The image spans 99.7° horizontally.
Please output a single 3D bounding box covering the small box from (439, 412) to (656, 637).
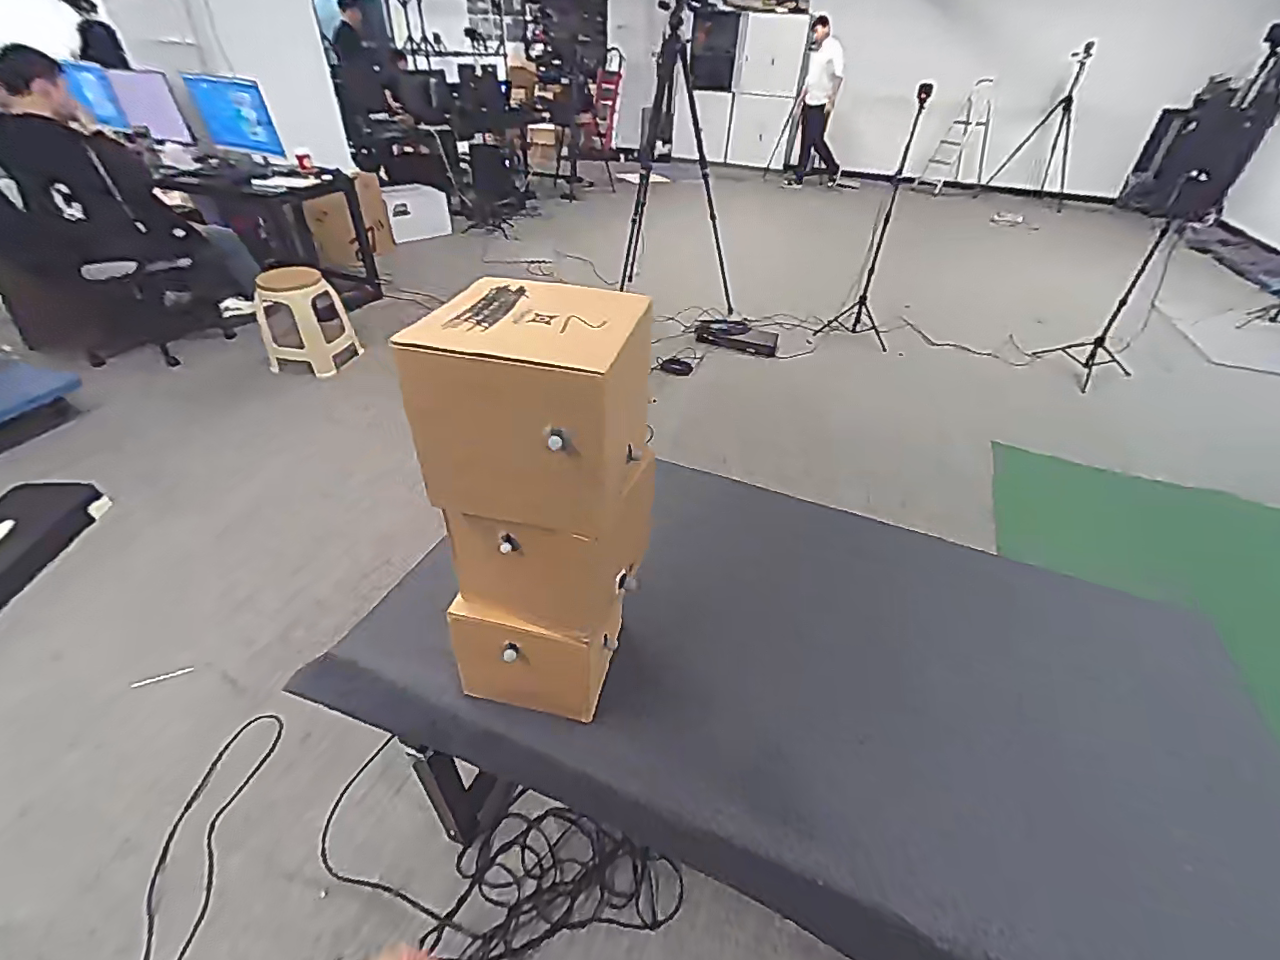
[{"bbox_3d":[-0.095,0.049,0.617,0.179,0.176,0.168,16,40,15],"label":"small box"}]

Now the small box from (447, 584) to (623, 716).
[{"bbox_3d":[-0.122,0.181,0.709,0.179,0.176,0.168,10,38,8],"label":"small box"}]
